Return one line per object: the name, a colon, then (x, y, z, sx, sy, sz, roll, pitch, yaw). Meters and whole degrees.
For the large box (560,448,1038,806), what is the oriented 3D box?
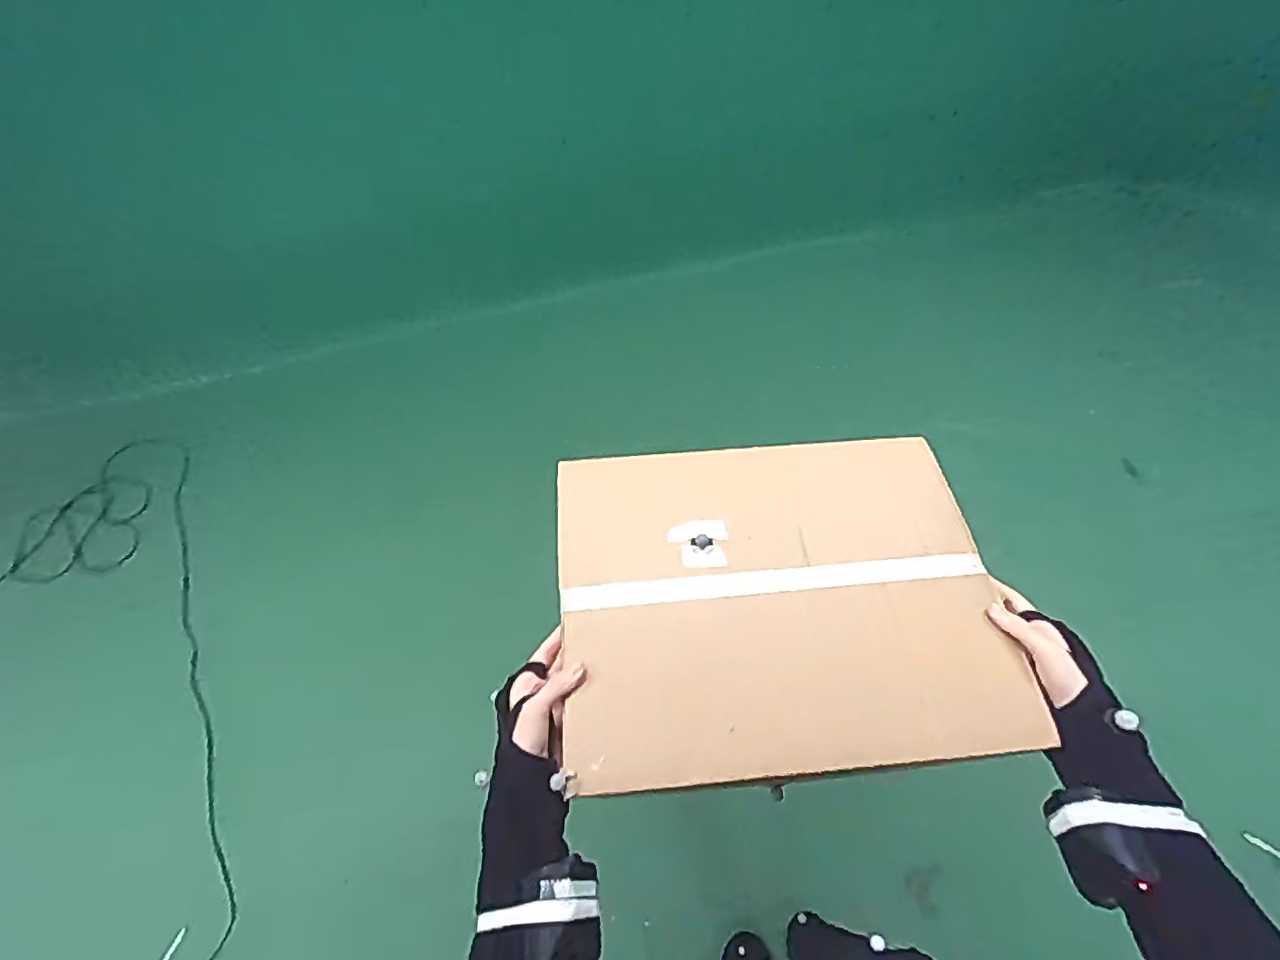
large box: (0.128, 0.188, 0.647, 0.408, 0.320, 0.320, -5, 58, -2)
